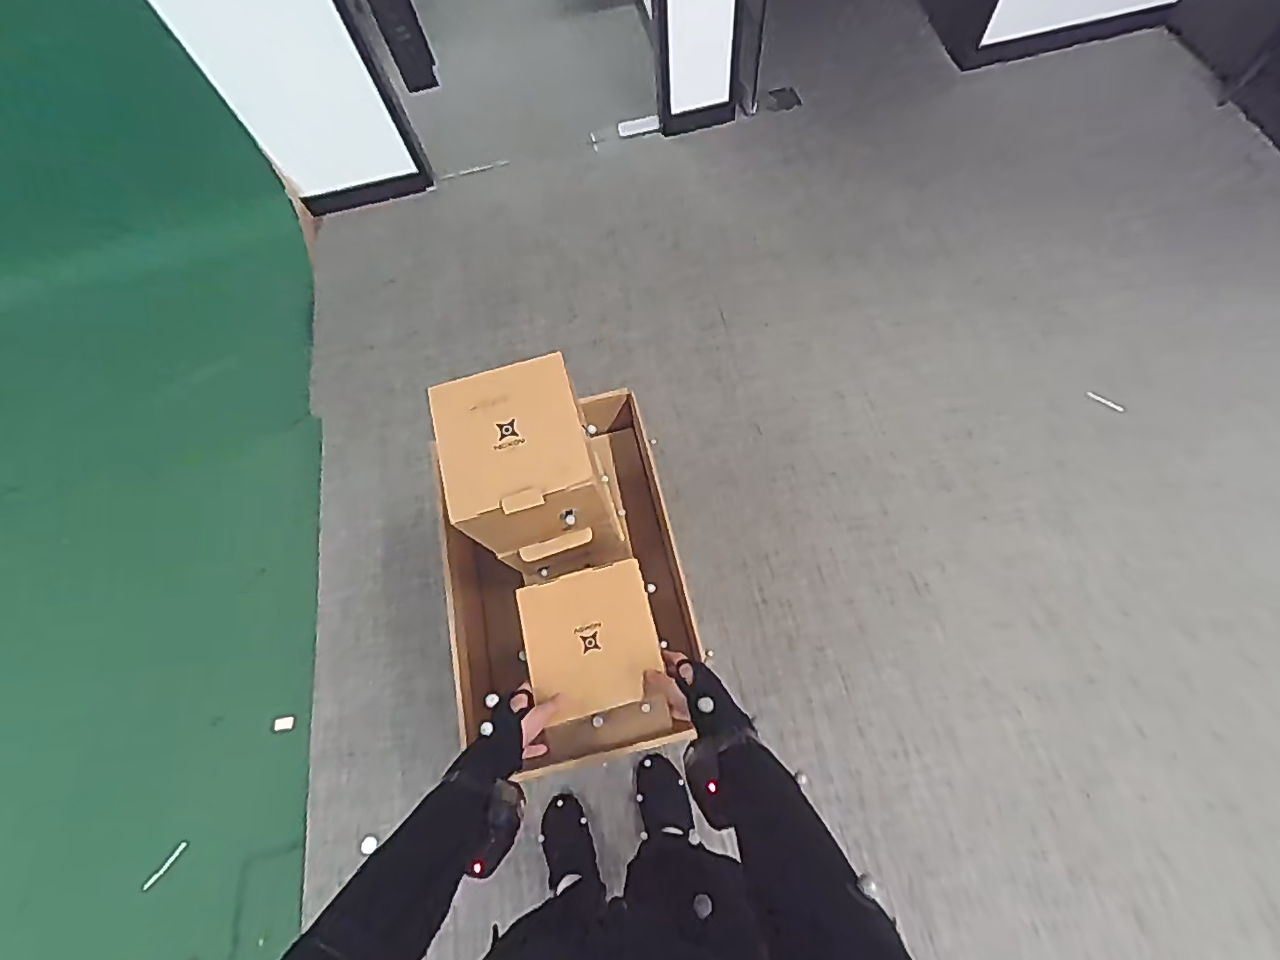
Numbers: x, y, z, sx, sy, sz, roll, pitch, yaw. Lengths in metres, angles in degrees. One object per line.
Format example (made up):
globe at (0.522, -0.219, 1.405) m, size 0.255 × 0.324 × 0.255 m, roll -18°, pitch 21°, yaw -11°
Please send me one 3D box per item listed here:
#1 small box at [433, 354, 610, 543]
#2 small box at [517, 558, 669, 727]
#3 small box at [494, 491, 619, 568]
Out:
small box at (-0.141, -0.027, 0.691) m, size 0.168 × 0.176 × 0.179 m, roll -15°, pitch 70°, yaw -2°
small box at (-0.058, 0.230, 0.754) m, size 0.168 × 0.176 × 0.179 m, roll -15°, pitch 66°, yaw -2°
small box at (-0.137, 0.029, 0.845) m, size 0.168 × 0.176 × 0.179 m, roll -18°, pitch 70°, yaw -3°
